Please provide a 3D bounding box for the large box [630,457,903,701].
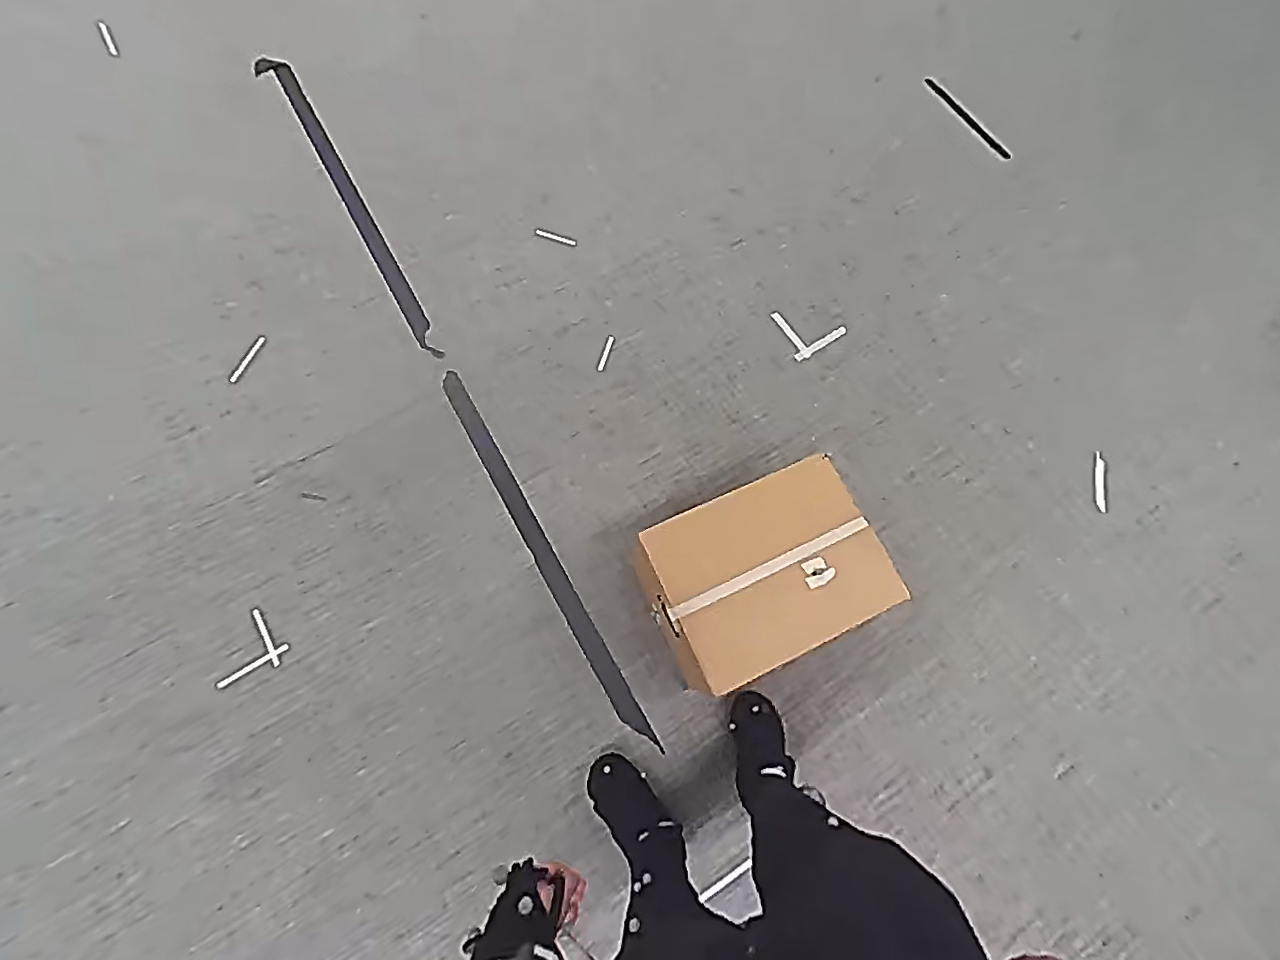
[{"bbox_3d":[0.227,0.213,1.119,0.408,0.320,0.320,-23,75,-11],"label":"large box"}]
